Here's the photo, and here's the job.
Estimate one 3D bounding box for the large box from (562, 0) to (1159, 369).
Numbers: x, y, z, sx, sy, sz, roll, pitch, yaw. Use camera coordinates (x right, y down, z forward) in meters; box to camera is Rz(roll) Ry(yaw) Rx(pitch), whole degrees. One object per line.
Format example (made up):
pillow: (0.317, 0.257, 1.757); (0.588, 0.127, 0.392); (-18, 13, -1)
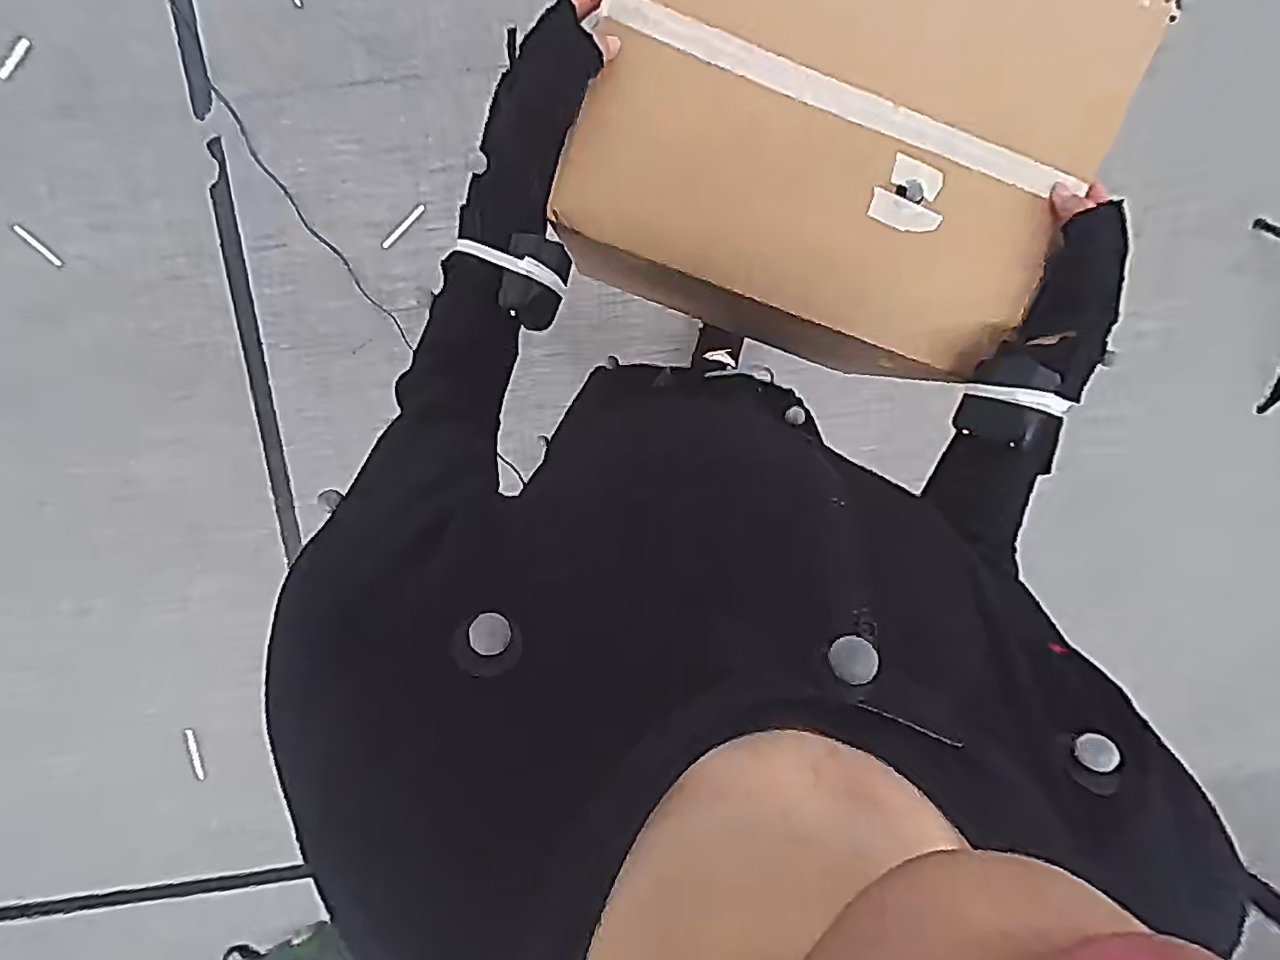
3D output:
large box: (0.162, -0.332, 0.572); (0.408, 0.320, 0.320); (19, 103, -7)
